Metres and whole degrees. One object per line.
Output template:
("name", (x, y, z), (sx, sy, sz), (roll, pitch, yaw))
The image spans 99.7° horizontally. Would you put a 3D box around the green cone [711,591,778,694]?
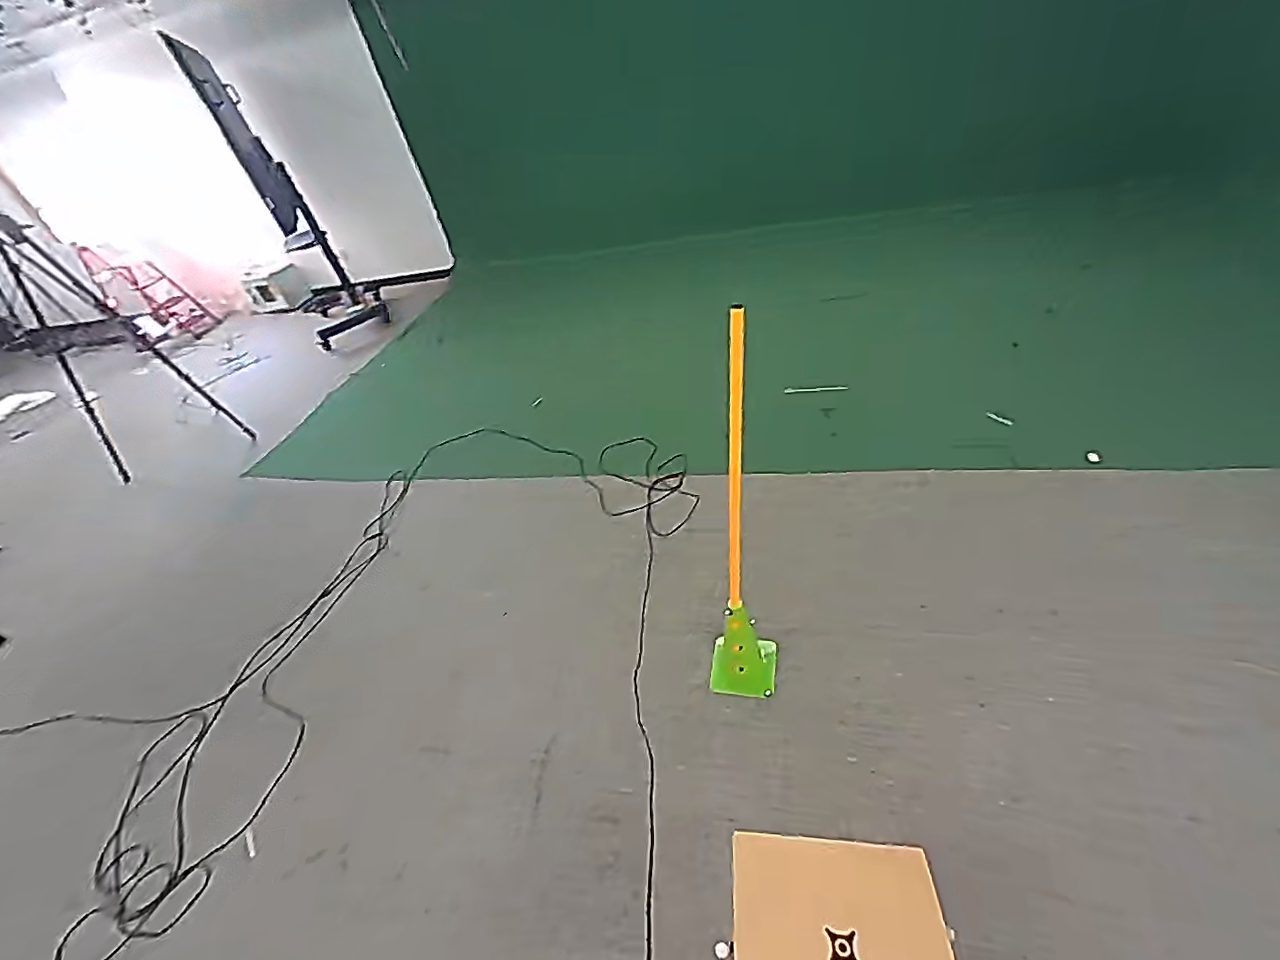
("green cone", (0.301, 0.457, 1.629), (0.202, 0.368, 0.200), (-1, 41, 18))
